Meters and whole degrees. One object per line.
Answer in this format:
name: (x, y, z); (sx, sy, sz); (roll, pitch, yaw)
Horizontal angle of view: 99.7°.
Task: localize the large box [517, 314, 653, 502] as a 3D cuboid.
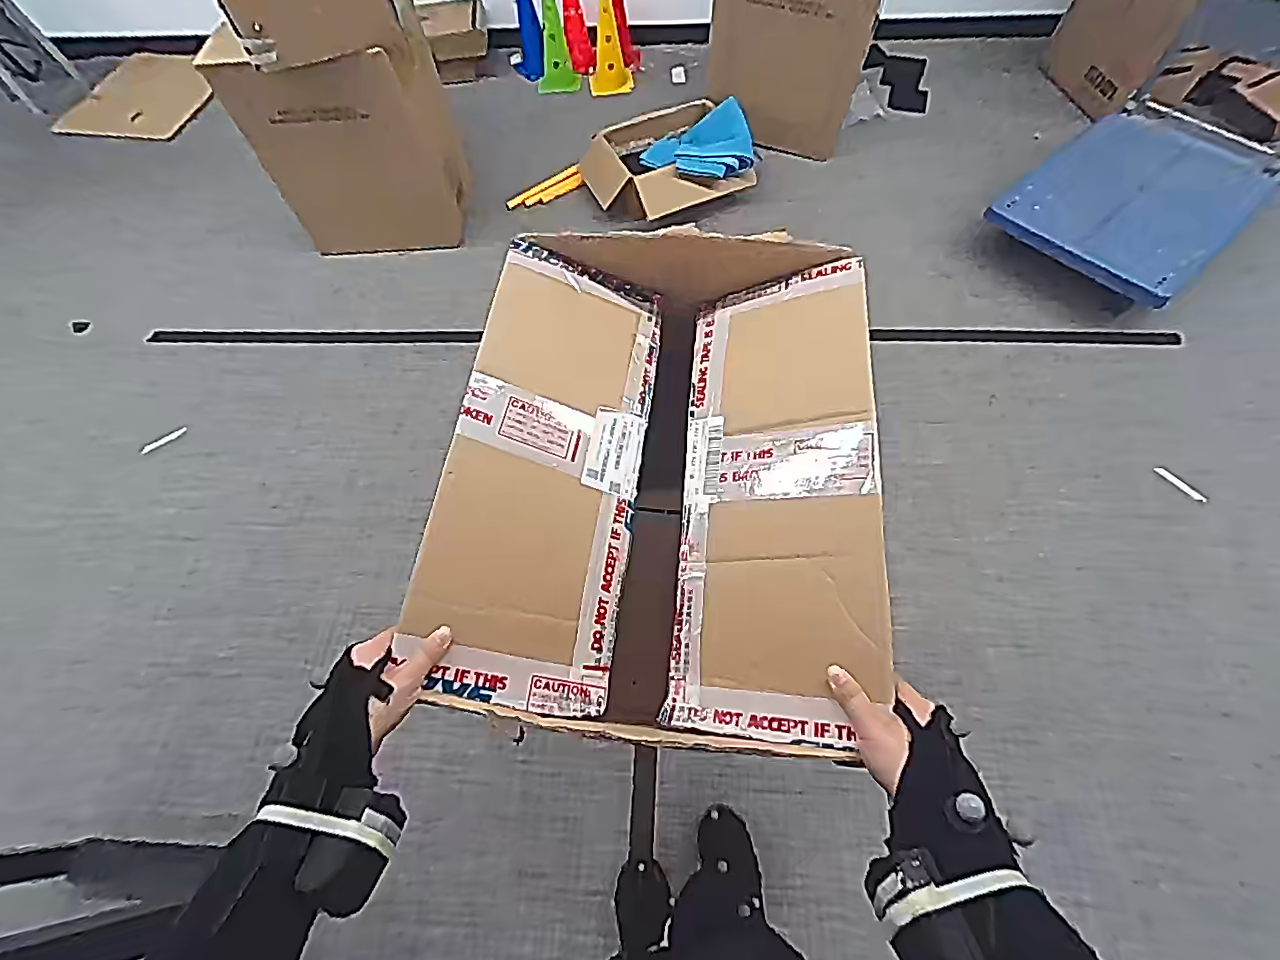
large box: (-0.122, -0.185, 1.444); (0.320, 0.320, 0.408); (0, 62, 3)
